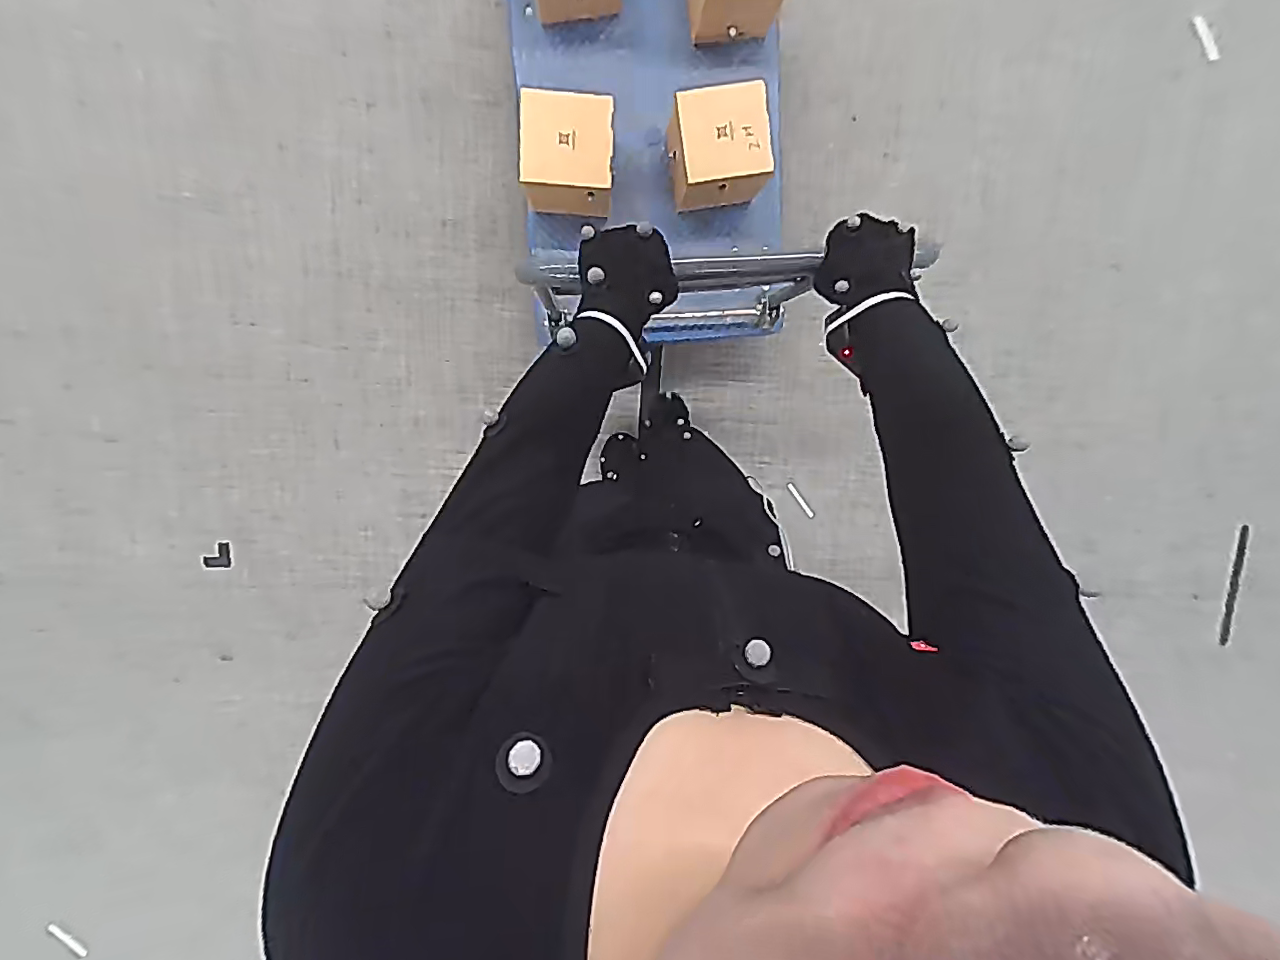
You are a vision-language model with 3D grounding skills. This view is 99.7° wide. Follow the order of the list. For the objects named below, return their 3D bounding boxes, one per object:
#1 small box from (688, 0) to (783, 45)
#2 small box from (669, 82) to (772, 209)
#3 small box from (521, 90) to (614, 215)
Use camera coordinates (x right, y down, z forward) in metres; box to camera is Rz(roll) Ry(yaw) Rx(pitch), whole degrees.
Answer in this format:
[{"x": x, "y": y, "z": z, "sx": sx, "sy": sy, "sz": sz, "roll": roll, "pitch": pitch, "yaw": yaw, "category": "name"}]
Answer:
[{"x": 0.187, "y": -1.019, "z": 1.077, "sx": 0.168, "sy": 0.176, "sz": 0.179, "roll": -8, "pitch": 101, "yaw": -3, "category": "small box"}, {"x": 0.159, "y": -0.686, "z": 1.128, "sx": 0.179, "sy": 0.176, "sz": 0.168, "roll": -10, "pitch": 100, "yaw": -3, "category": "small box"}, {"x": -0.145, "y": -0.661, "z": 1.110, "sx": 0.179, "sy": 0.176, "sz": 0.168, "roll": 1, "pitch": 99, "yaw": -6, "category": "small box"}]
